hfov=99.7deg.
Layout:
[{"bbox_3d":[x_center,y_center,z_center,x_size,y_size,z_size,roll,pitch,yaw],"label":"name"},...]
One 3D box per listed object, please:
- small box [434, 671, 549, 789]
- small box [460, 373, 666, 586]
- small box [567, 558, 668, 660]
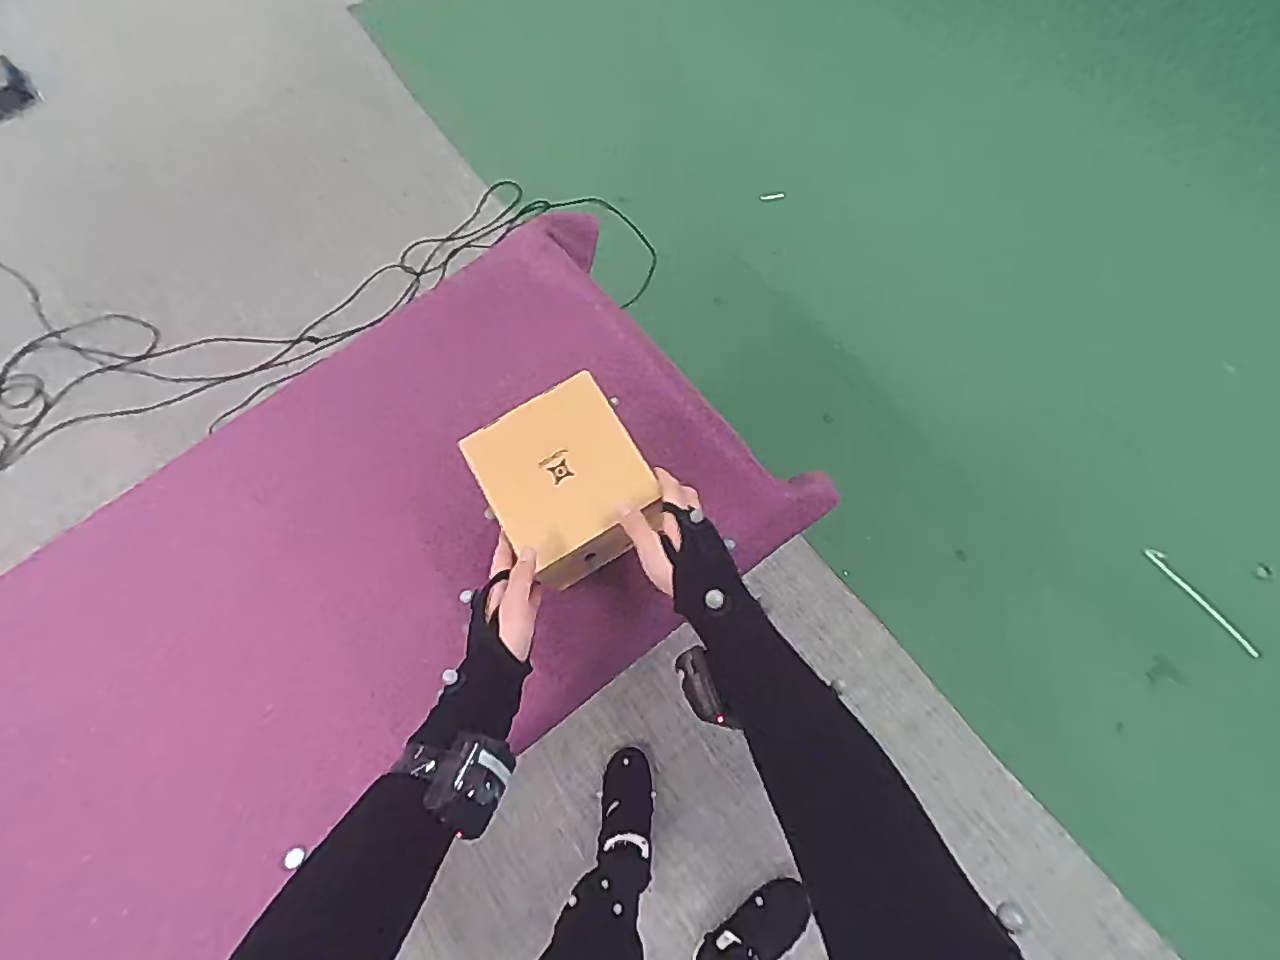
[{"bbox_3d":[-0.328,0.559,1.239,0.168,0.176,0.179,43,79,16],"label":"small box"},{"bbox_3d":[-0.078,0.013,0.643,0.168,0.176,0.179,-30,72,-5],"label":"small box"},{"bbox_3d":[-0.049,0.318,1.305,0.168,0.176,0.179,-44,75,-11],"label":"small box"}]
